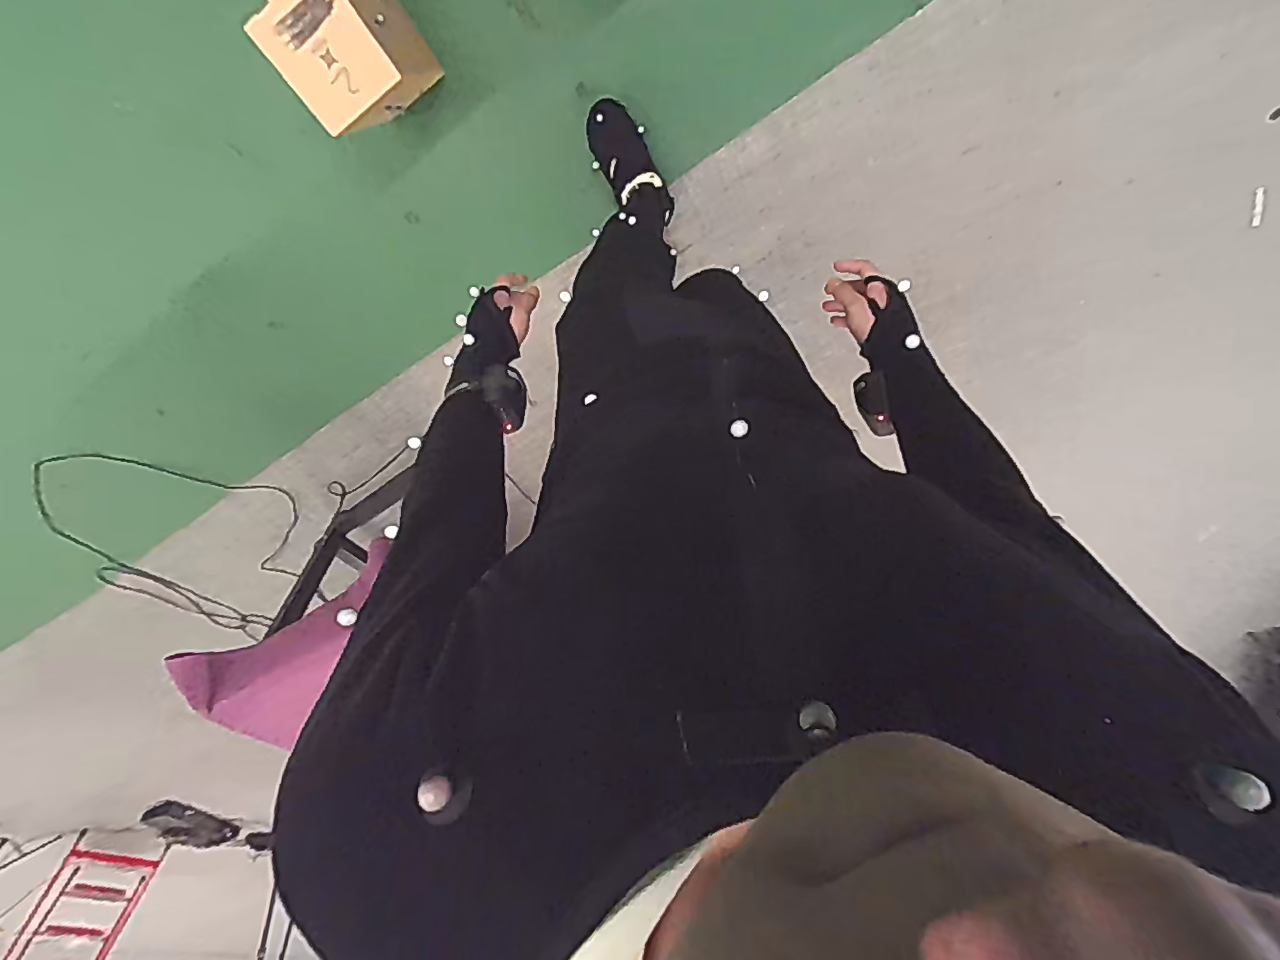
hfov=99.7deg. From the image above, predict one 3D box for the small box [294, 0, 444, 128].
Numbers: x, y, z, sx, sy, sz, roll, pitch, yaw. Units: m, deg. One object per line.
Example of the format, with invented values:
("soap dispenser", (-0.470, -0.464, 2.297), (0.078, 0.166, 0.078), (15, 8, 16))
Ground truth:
("small box", (-0.513, -0.831, 1.053), (0.168, 0.176, 0.179), (-28, 124, 16))
